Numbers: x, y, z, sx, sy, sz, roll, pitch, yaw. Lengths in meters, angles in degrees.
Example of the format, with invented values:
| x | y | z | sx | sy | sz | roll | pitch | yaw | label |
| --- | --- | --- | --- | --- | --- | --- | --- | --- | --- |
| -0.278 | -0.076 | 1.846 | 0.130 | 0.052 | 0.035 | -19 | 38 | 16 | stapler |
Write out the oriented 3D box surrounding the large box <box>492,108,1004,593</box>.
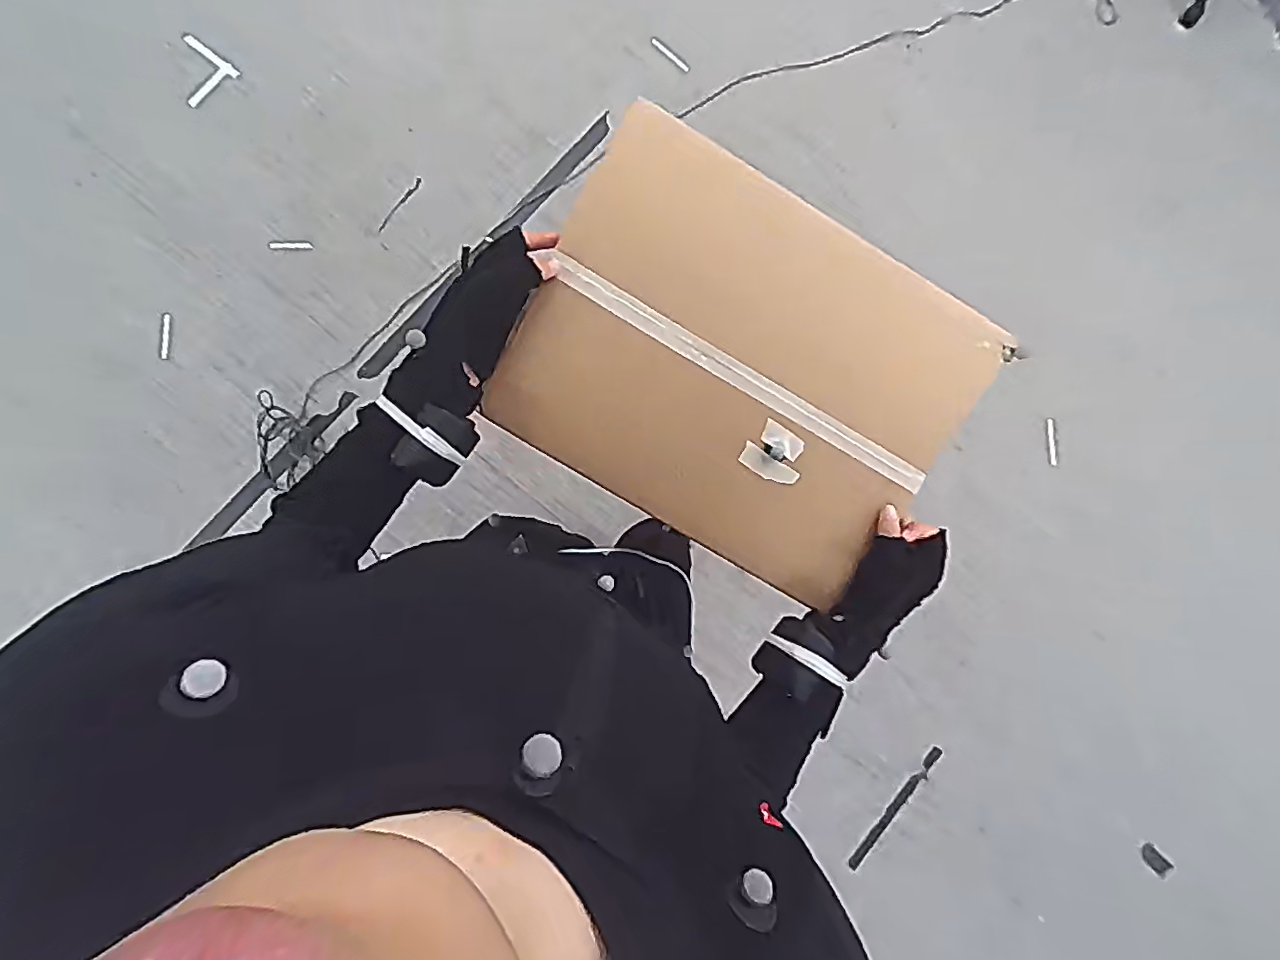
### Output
| x | y | z | sx | sy | sz | roll | pitch | yaw | label |
| --- | --- | --- | --- | --- | --- | --- | --- | --- | --- |
| 0.099 | -0.132 | 0.663 | 0.408 | 0.320 | 0.320 | 31 | 99 | -5 | large box |
